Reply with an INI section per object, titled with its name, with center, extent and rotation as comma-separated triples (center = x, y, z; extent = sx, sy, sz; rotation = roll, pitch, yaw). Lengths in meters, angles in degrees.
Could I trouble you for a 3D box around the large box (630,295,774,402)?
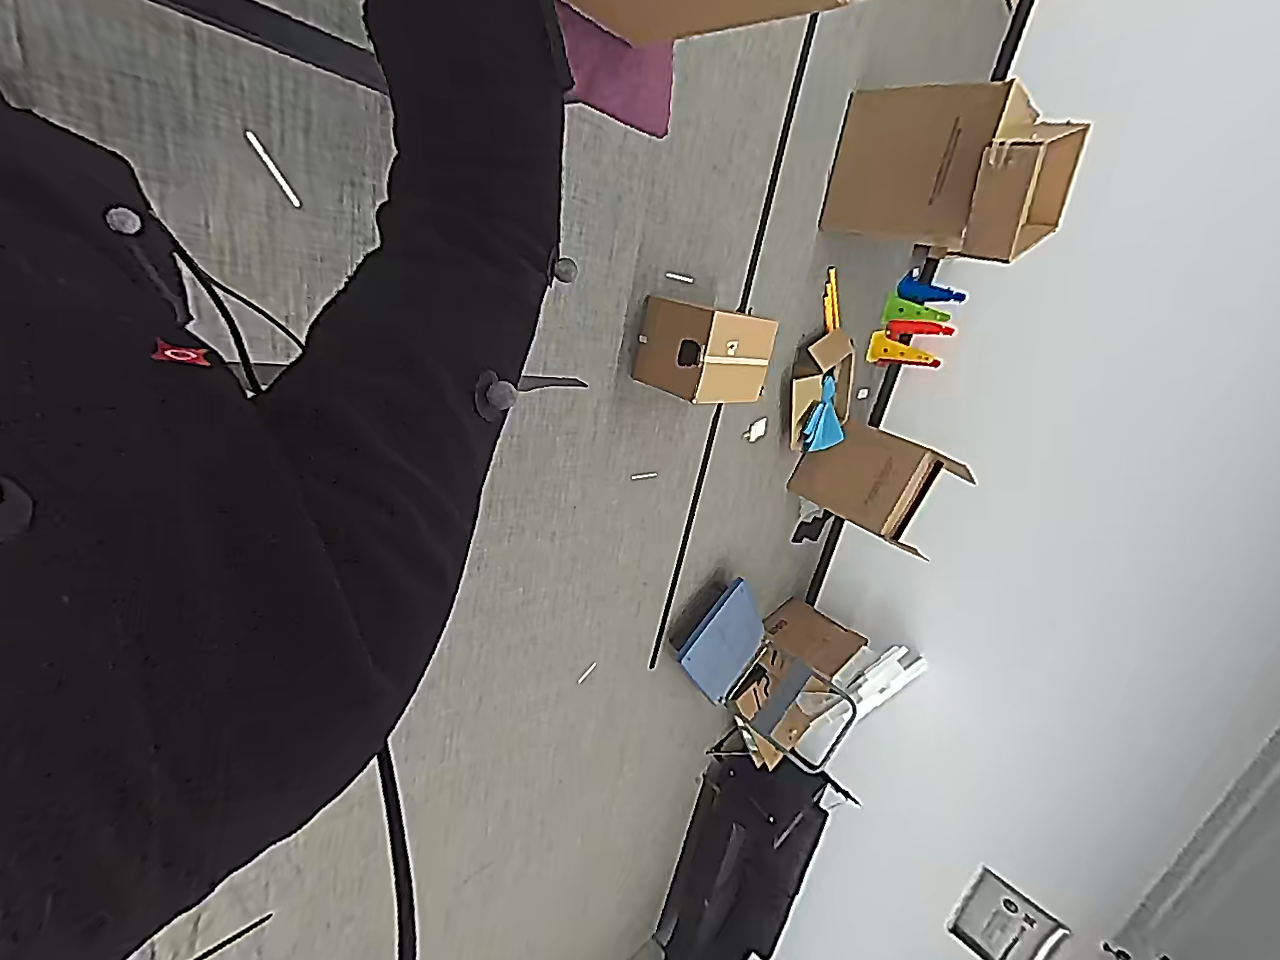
[large box]
center = 0.228, -0.487, 2.004
extent = 0.408, 0.320, 0.320
rotation = -10, 119, -45
